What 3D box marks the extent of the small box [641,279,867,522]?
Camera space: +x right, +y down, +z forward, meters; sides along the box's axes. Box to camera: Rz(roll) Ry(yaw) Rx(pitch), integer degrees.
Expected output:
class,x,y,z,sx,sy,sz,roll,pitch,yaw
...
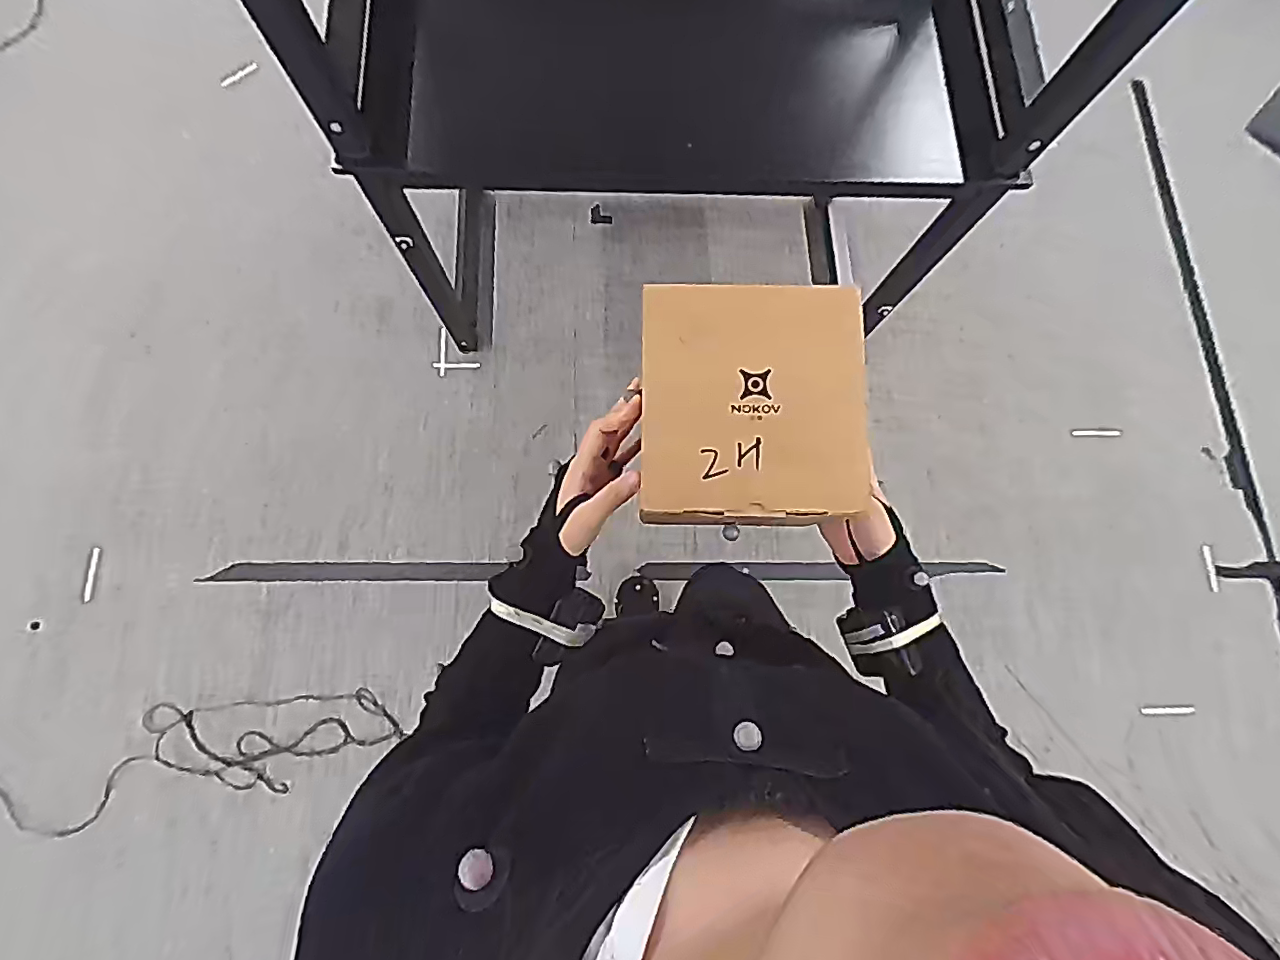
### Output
class,x,y,z,sx,sy,sz,roll,pitch,yaw
small box,0.085,-0.056,0.482,0.168,0.176,0.179,1,83,1
